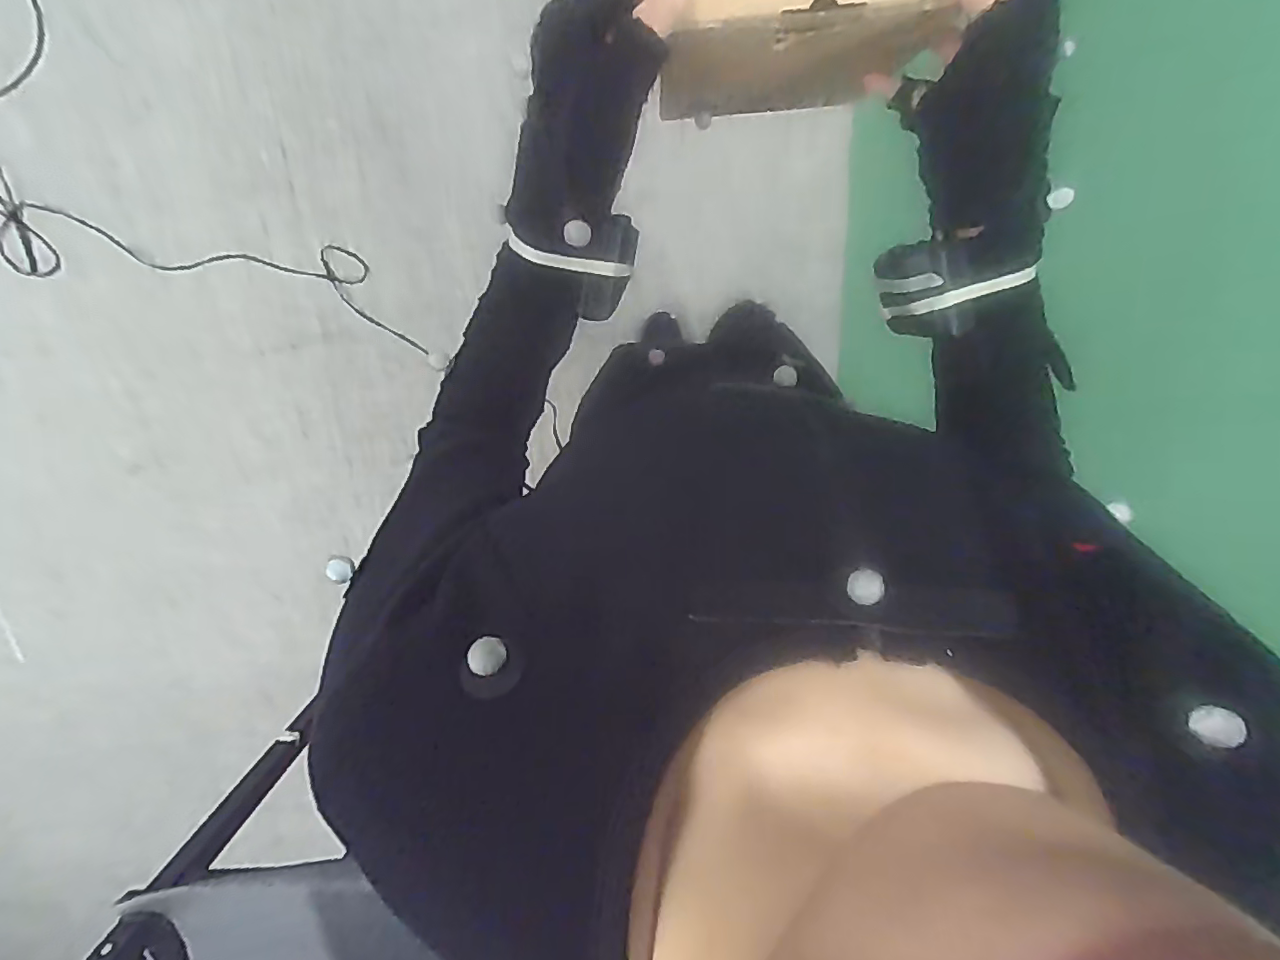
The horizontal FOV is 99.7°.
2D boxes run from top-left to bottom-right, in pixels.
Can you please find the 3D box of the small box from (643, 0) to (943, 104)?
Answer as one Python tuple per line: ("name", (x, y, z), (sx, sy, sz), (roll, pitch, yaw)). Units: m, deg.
("small box", (0.083, -0.352, 0.327), (0.168, 0.176, 0.179), (-3, 109, 3))
